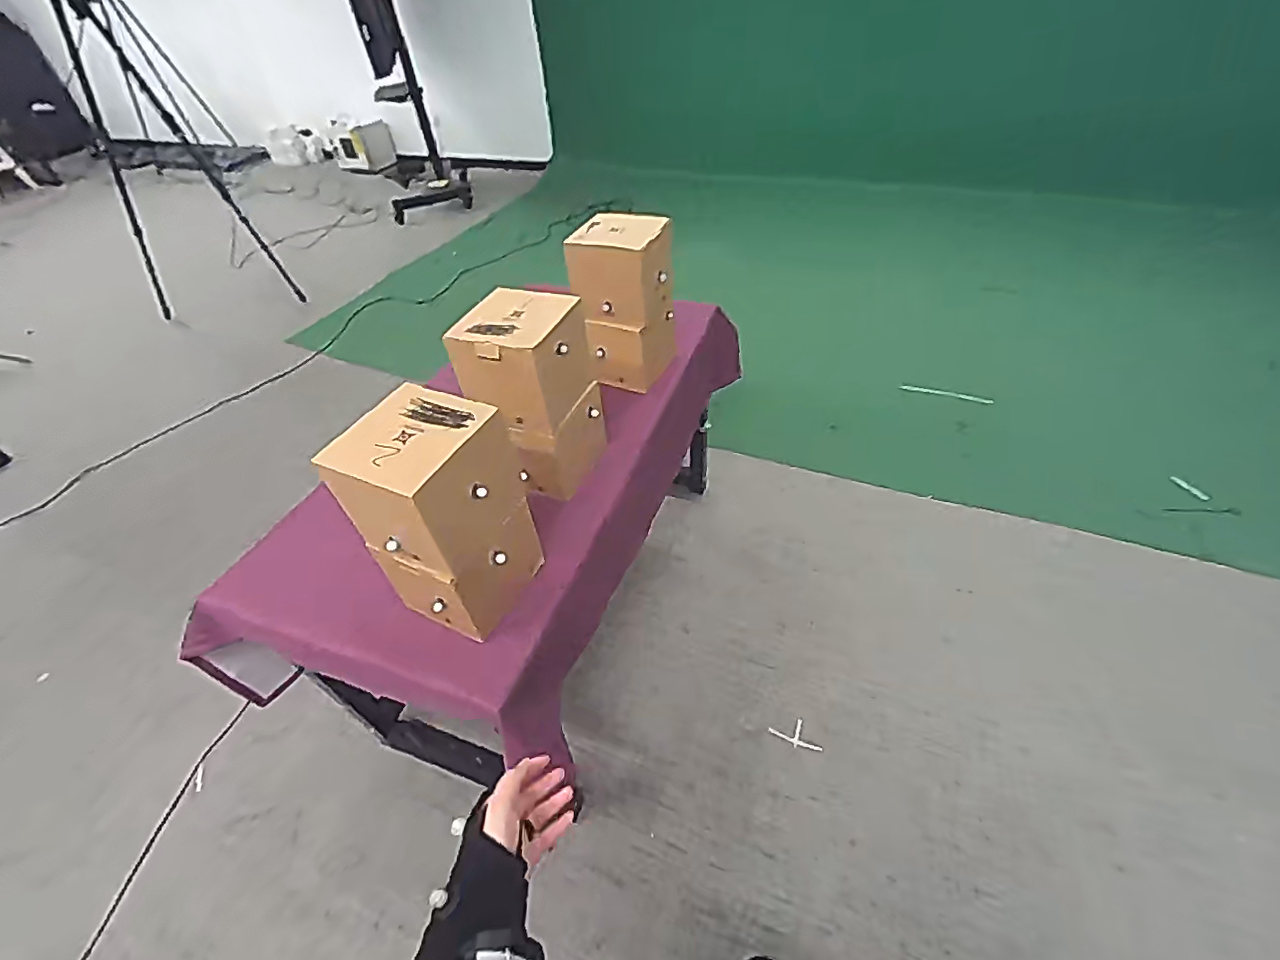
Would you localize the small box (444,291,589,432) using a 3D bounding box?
[{"bbox_3d":[-0.200,-0.205,0.939,0.168,0.176,0.179,12,47,17],"label":"small box"}]

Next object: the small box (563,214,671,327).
[{"bbox_3d":[-0.041,-0.449,1.165,0.179,0.176,0.168,15,48,19],"label":"small box"}]

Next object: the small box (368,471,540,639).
[{"bbox_3d":[-0.279,0.120,0.860,0.168,0.176,0.179,18,49,22],"label":"small box"}]

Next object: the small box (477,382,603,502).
[{"bbox_3d":[-0.181,-0.088,1.053,0.168,0.176,0.179,14,48,20],"label":"small box"}]

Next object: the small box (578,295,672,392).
[{"bbox_3d":[-0.029,-0.332,1.279,0.168,0.176,0.179,17,49,22],"label":"small box"}]
